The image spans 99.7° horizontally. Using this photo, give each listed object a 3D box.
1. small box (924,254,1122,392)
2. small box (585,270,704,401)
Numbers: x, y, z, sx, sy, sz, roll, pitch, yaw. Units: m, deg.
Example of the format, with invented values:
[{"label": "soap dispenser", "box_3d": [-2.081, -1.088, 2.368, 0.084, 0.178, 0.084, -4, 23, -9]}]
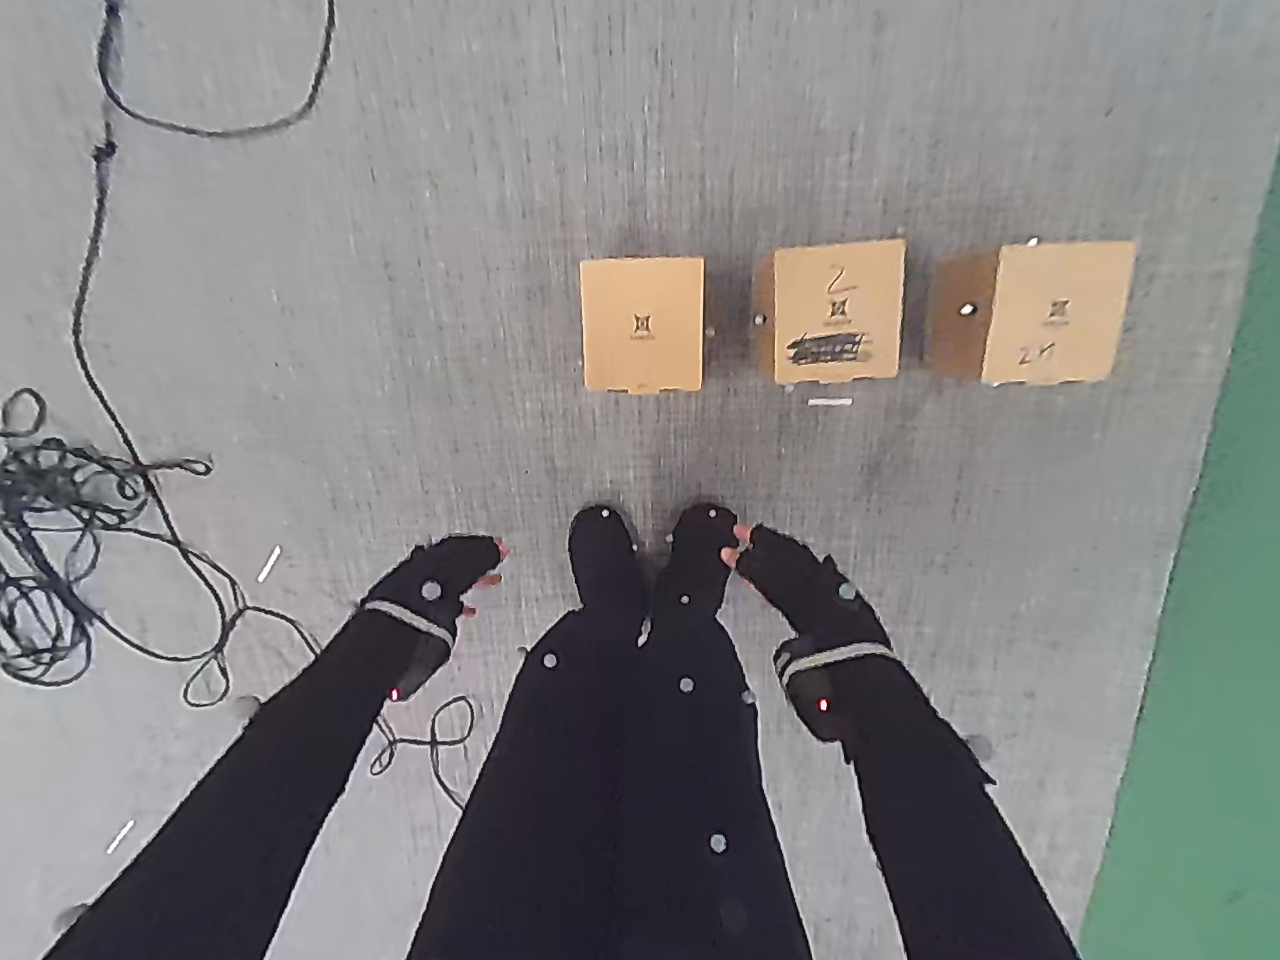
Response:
[{"label": "small box", "box_3d": [0.540, -0.225, 0.792, 0.168, 0.176, 0.179, 0, 106, 5]}, {"label": "small box", "box_3d": [0.011, -0.219, 0.830, 0.168, 0.176, 0.179, 0, 106, 4]}]
